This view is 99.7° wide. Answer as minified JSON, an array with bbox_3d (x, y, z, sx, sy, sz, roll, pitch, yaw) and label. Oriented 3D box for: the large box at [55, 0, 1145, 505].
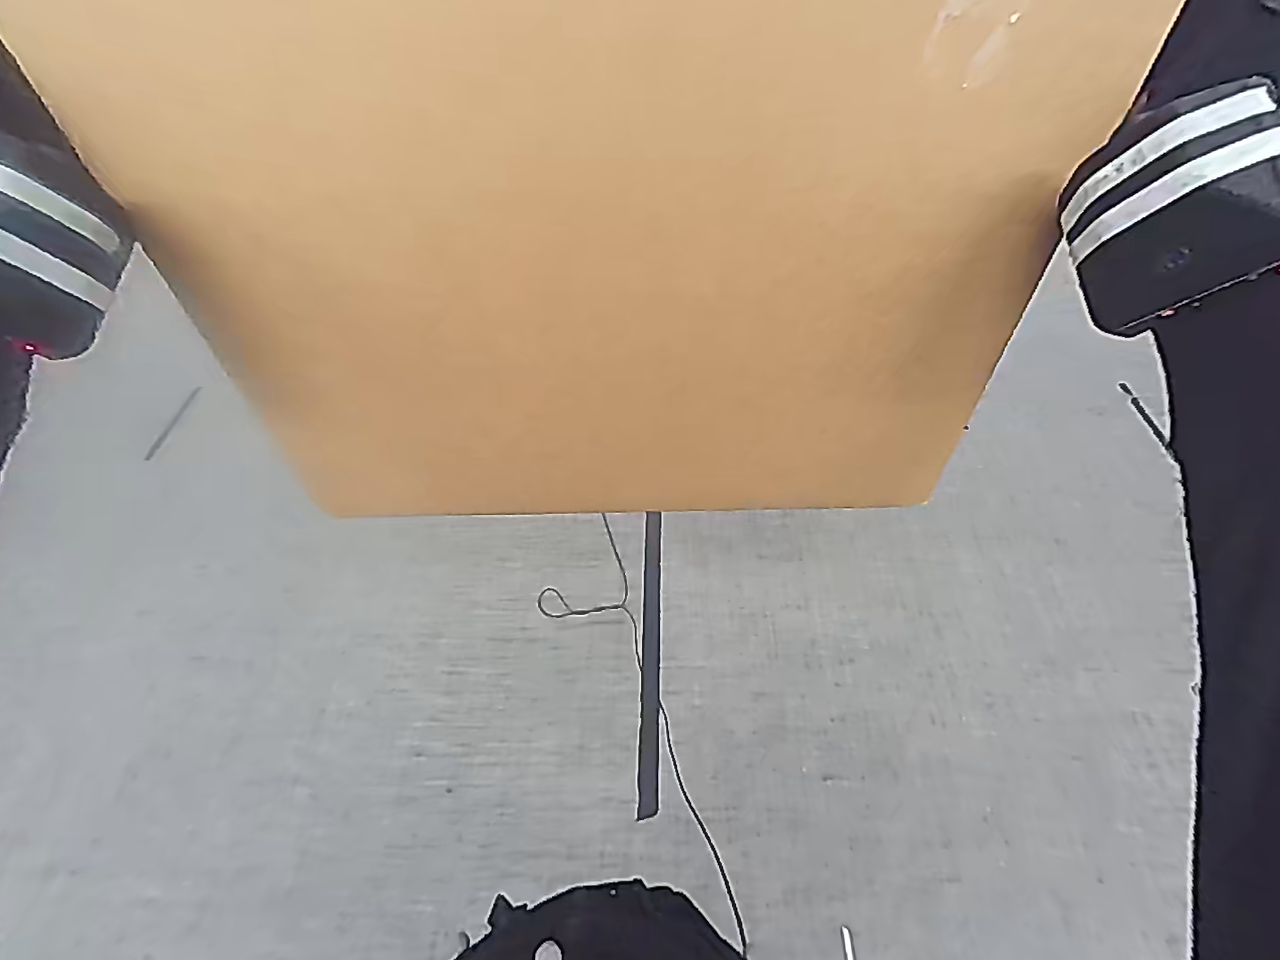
[{"bbox_3d":[-0.014,-0.198,0.373,0.408,0.320,0.320,-1,45,-1],"label":"large box"}]
